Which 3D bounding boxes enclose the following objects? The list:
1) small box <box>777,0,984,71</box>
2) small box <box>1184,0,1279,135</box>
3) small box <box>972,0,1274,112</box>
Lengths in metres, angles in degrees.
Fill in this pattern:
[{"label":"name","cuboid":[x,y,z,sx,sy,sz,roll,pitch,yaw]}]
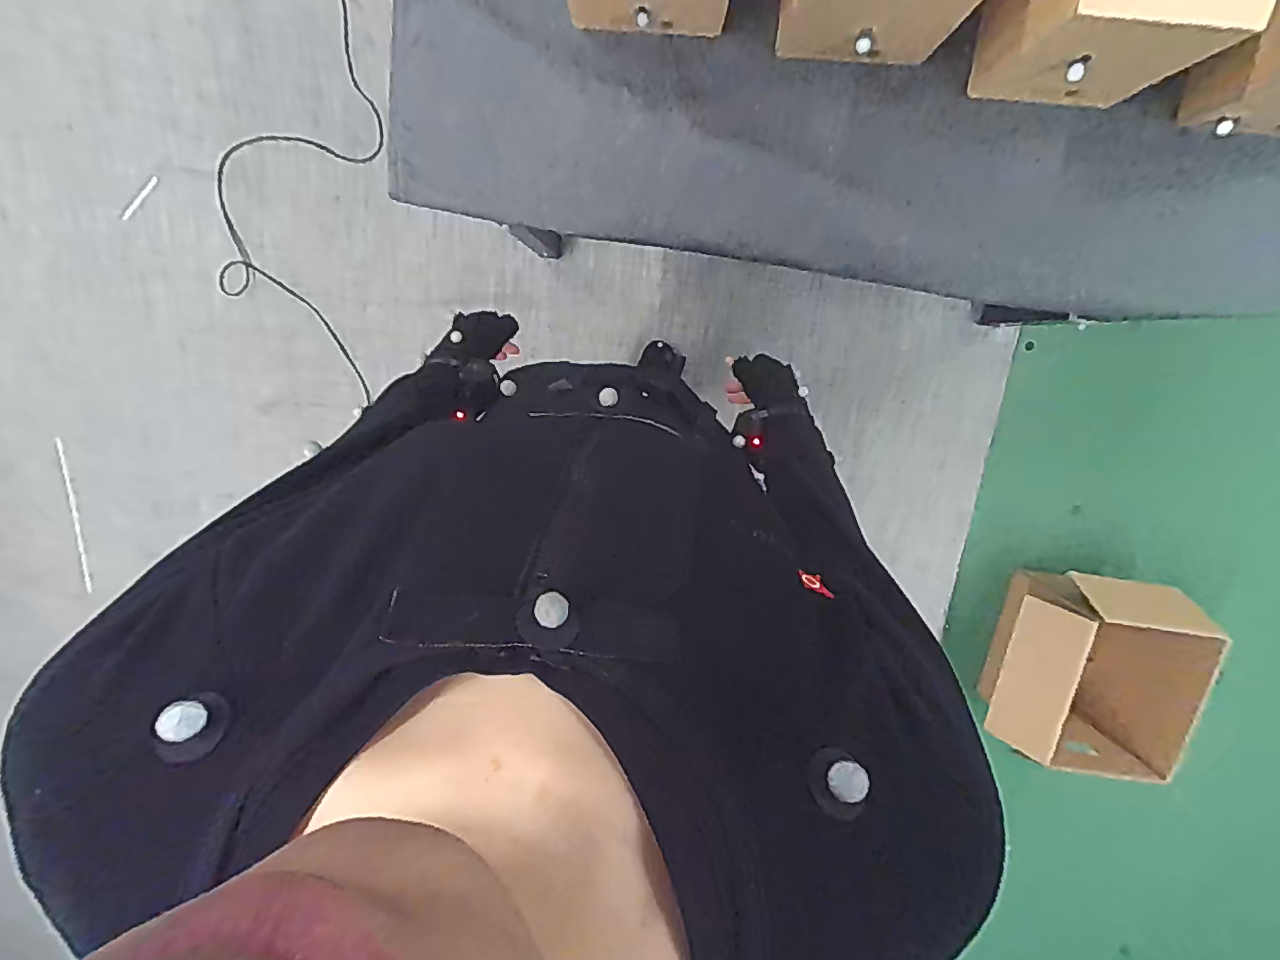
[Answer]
[{"label":"small box","cuboid":[0.235,-0.529,0.507,0.168,0.176,0.179,5,105,0]},{"label":"small box","cuboid":[0.694,-0.454,0.517,0.168,0.176,0.179,4,103,0]},{"label":"small box","cuboid":[0.455,-0.484,0.516,0.168,0.176,0.179,4,103,0]}]
